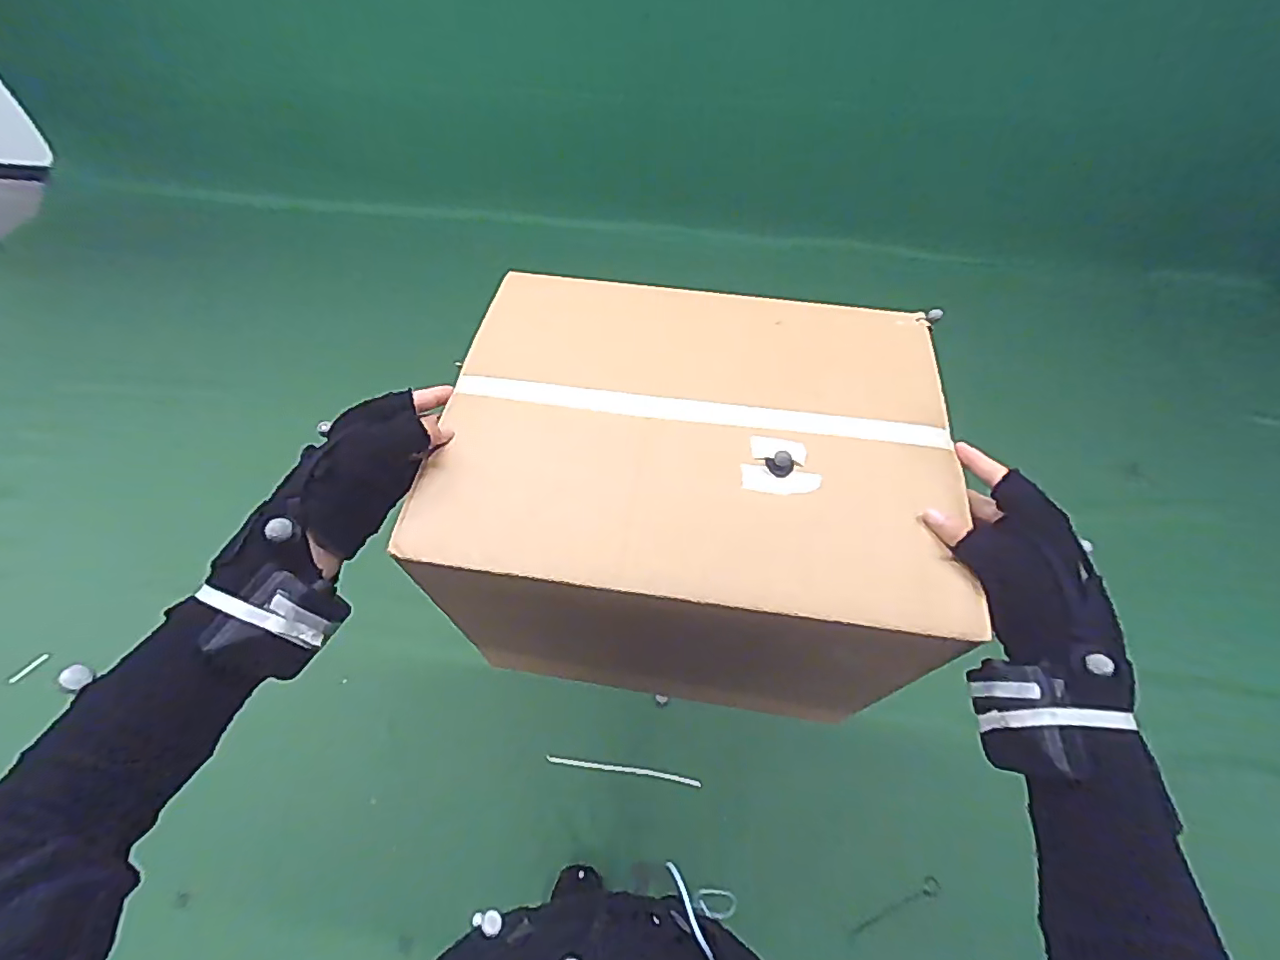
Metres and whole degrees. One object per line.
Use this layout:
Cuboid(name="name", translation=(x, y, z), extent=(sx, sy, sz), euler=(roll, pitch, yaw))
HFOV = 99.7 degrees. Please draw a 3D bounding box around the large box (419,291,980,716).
Cuboid(name="large box", translation=(0.051, 0.037, 0.580), extent=(0.408, 0.320, 0.320), euler=(8, 57, 4))
